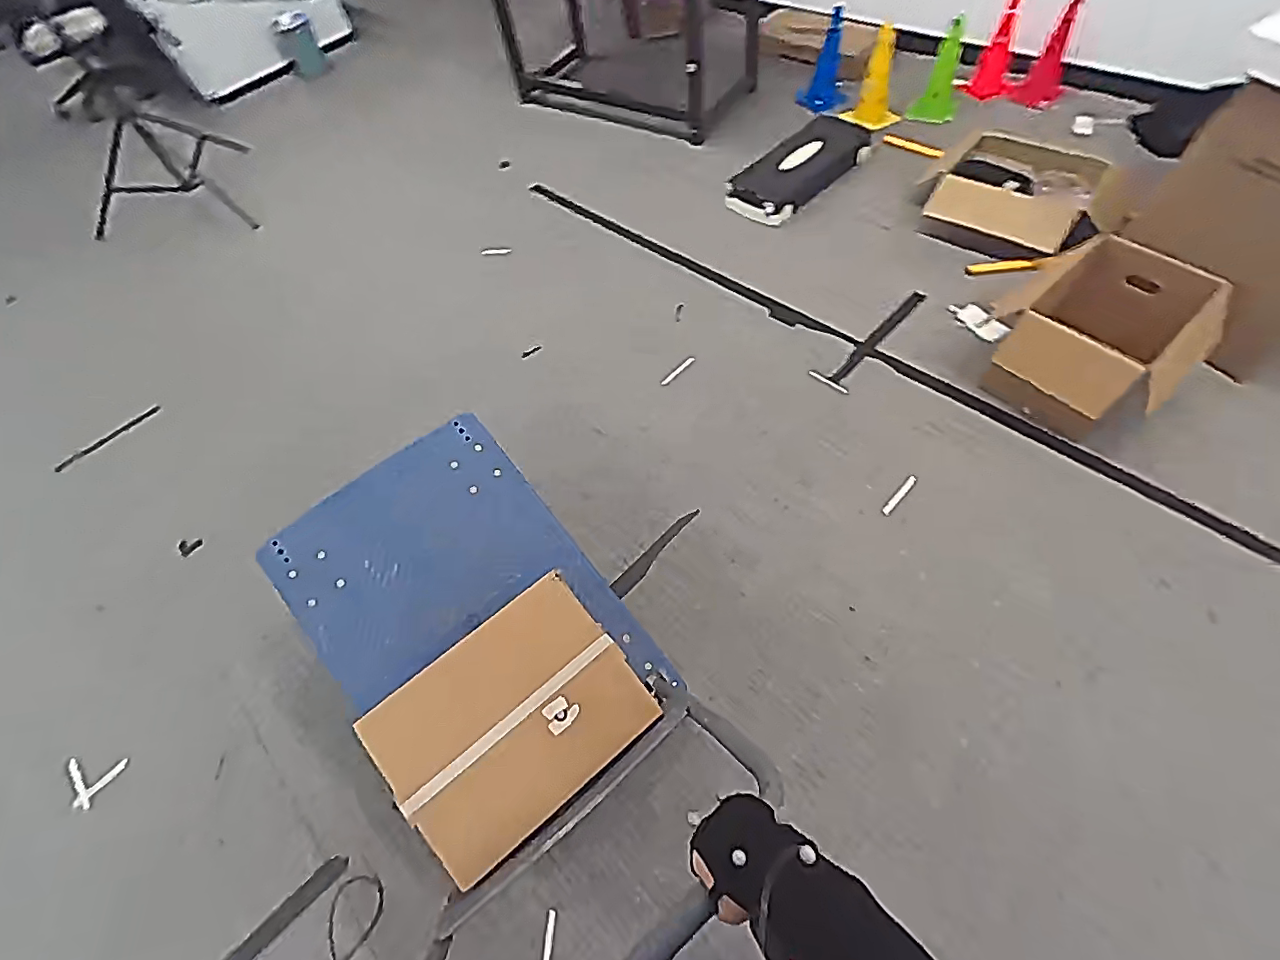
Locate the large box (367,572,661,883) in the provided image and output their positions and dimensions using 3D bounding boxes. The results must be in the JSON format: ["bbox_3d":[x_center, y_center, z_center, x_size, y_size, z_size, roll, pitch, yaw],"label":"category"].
[{"bbox_3d":[-0.223,0.444,1.055,0.408,0.320,0.320,-38,81,-16],"label":"large box"}]
